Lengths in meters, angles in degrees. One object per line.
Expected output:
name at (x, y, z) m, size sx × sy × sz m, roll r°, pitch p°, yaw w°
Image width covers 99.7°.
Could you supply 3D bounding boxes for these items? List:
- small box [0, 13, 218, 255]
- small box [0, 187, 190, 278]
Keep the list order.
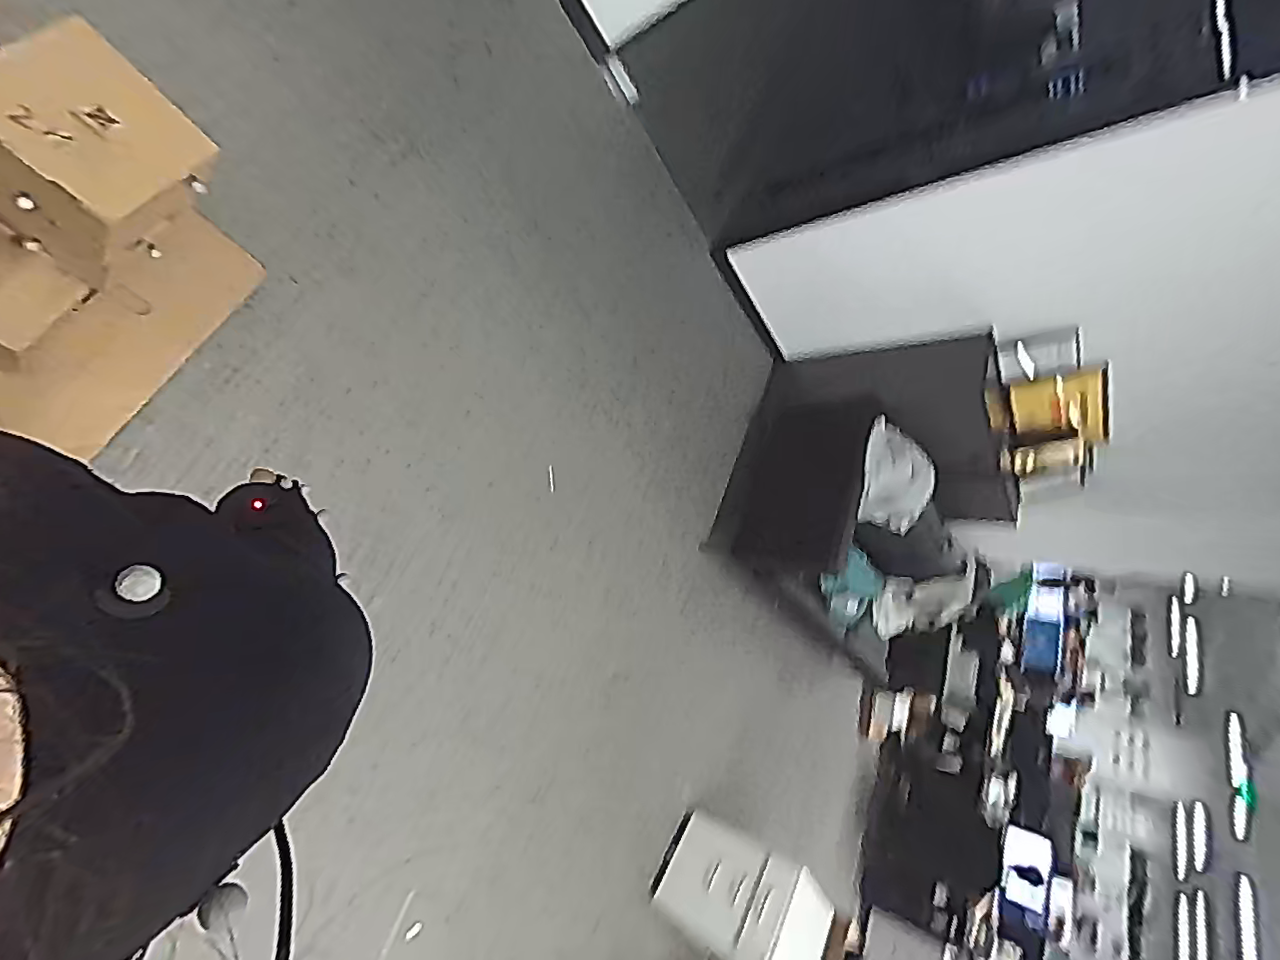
small box at (-0.692, -0.419, 0.680) m, size 0.168 × 0.176 × 0.179 m, roll 48°, pitch 57°, yaw -36°
small box at (-0.819, -0.419, 0.789) m, size 0.179 × 0.176 × 0.168 m, roll 47°, pitch 57°, yaw -36°
